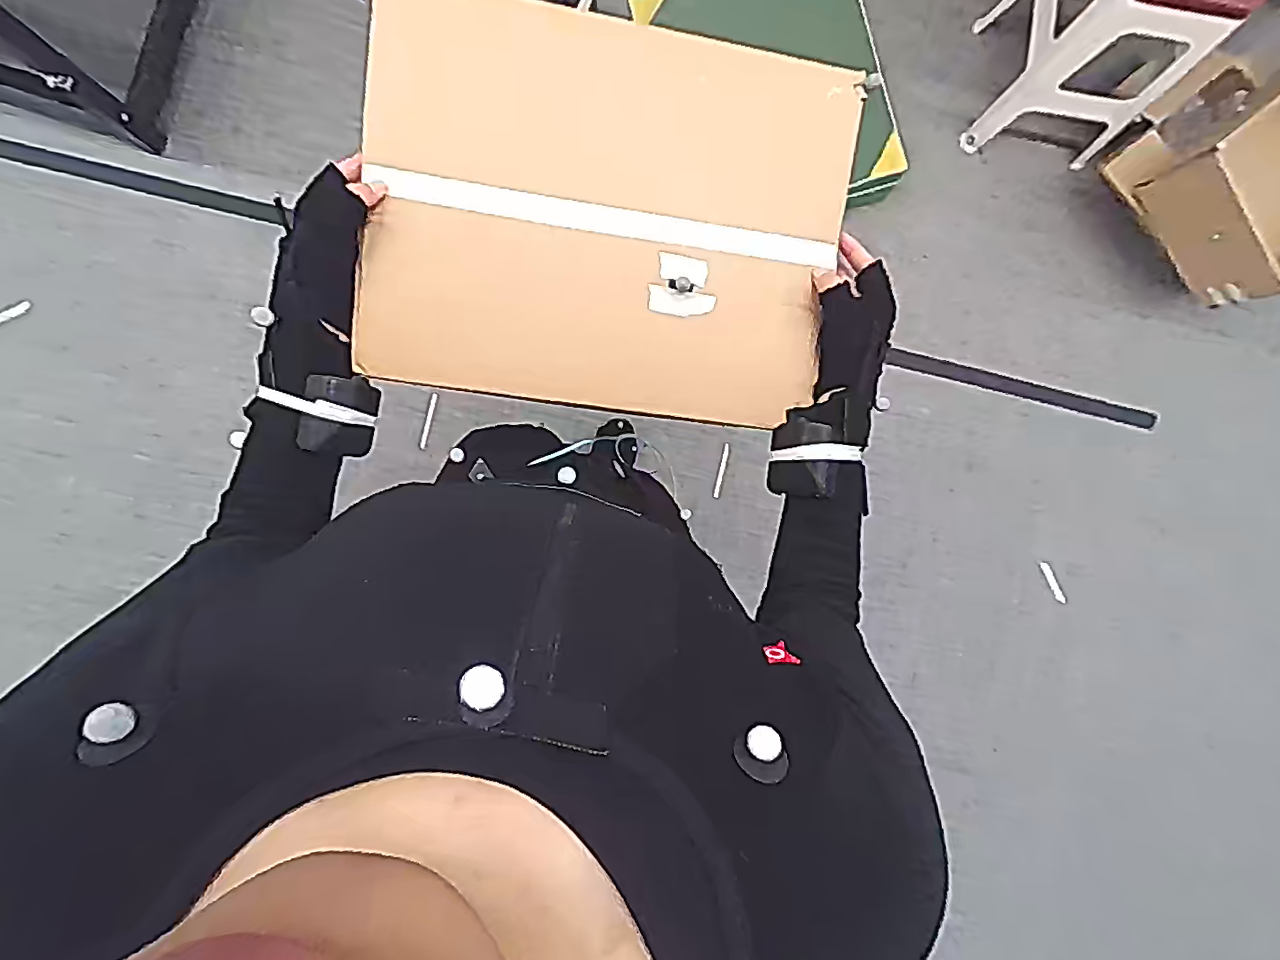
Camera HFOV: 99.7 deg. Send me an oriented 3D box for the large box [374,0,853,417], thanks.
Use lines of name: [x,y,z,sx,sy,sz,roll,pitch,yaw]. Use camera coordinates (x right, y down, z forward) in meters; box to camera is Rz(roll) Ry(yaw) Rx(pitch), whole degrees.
large box: [-0.039,-0.249,0.619,0.408,0.320,0.320,6,98,-8]
